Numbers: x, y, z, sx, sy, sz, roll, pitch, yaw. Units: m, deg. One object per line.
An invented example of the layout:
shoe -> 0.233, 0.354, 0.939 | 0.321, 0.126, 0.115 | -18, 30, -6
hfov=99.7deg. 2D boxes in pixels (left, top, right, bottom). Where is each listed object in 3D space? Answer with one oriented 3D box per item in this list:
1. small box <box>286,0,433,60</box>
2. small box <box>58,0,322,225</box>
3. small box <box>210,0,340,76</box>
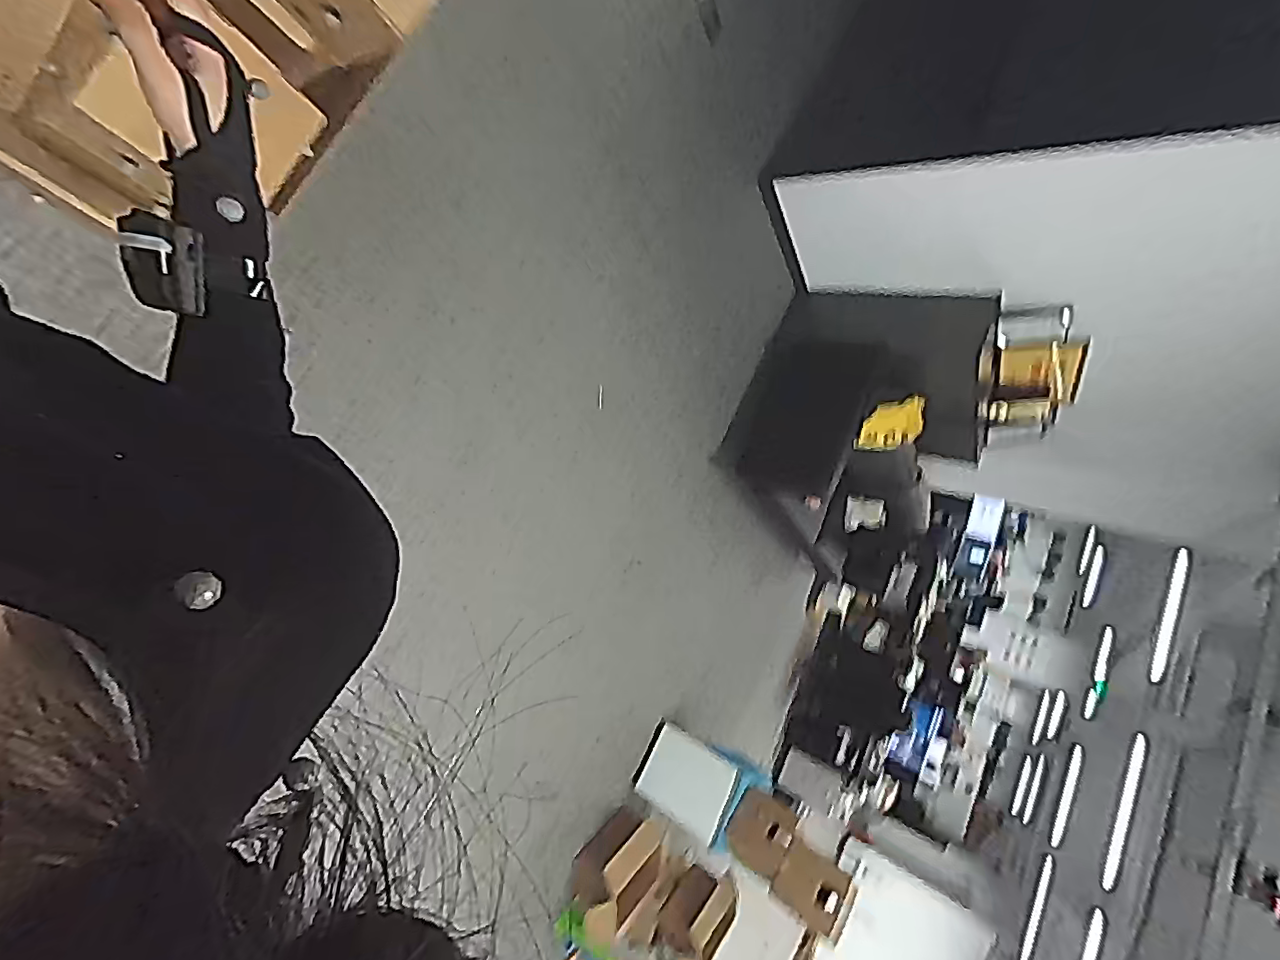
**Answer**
small box -> -0.309, -0.592, 0.570 | 0.168, 0.176, 0.179 | 38, 77, -52
small box -> -0.526, -0.425, 0.635 | 0.168, 0.176, 0.179 | 40, 73, -52
small box -> -0.434, -0.642, 0.662 | 0.168, 0.176, 0.179 | 33, 80, -53
